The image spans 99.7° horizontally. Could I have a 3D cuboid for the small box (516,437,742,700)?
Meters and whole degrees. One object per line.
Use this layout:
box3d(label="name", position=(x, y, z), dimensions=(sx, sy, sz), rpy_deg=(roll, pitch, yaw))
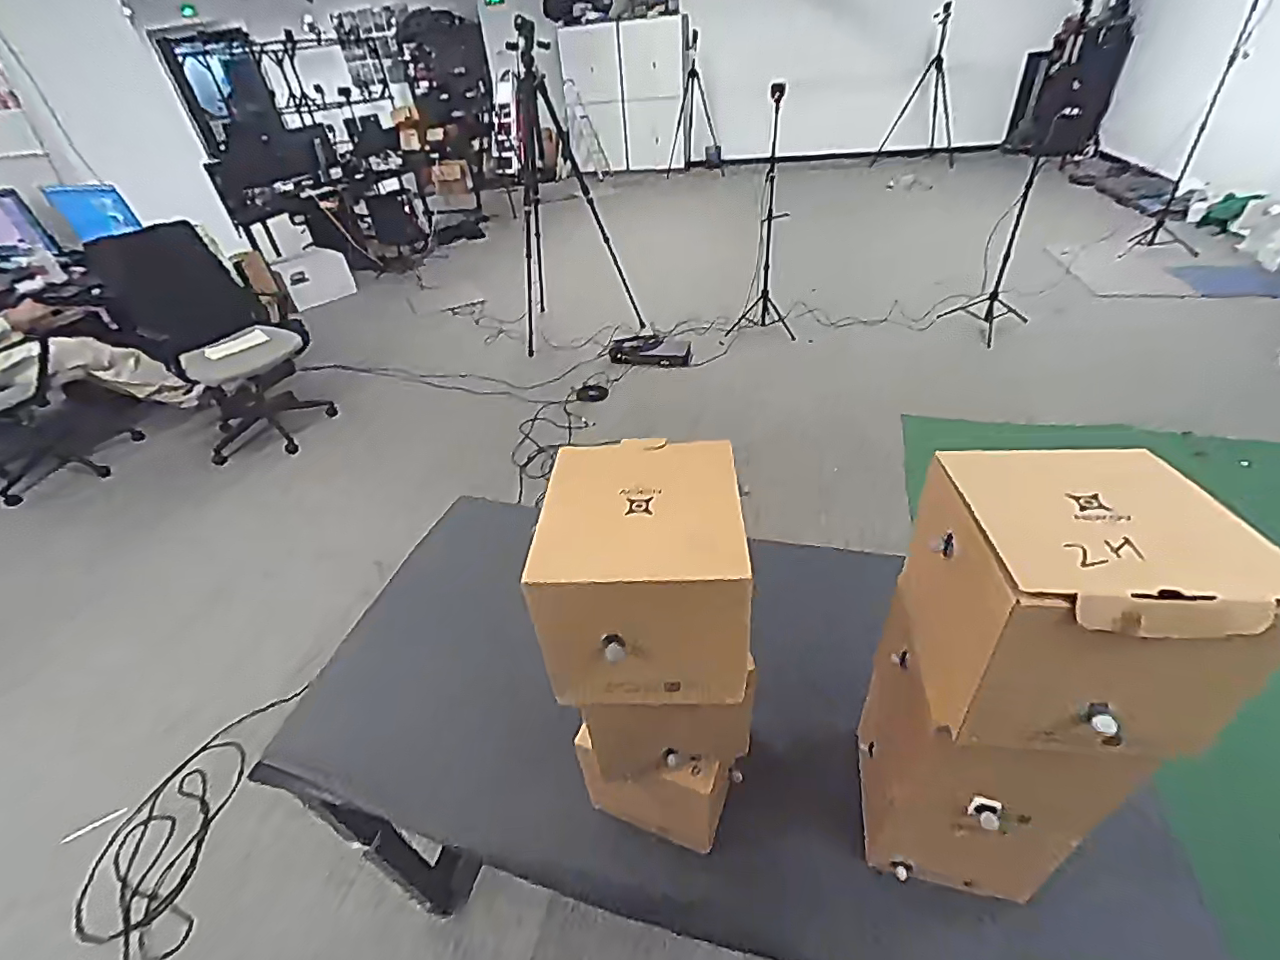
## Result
box3d(label="small box", position=(0.002, 0.081, 0.491), dimensions=(0.168, 0.176, 0.179), rpy_deg=(-2, 38, 4))

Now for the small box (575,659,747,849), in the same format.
box3d(label="small box", position=(0.034, 0.329, 0.703), dimensions=(0.168, 0.176, 0.179), rpy_deg=(11, 39, 21))

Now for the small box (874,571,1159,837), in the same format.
box3d(label="small box", position=(0.342, 0.216, 0.539), dimensions=(0.168, 0.176, 0.179), rpy_deg=(2, 38, 12))

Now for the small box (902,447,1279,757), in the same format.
box3d(label="small box", position=(0.328, 0.089, 0.434), dimensions=(0.168, 0.176, 0.179), rpy_deg=(-1, 36, 10))

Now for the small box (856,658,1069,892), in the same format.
box3d(label="small box", position=(0.357, 0.344, 0.638), dimensions=(0.168, 0.176, 0.179), rpy_deg=(5, 37, 14))
